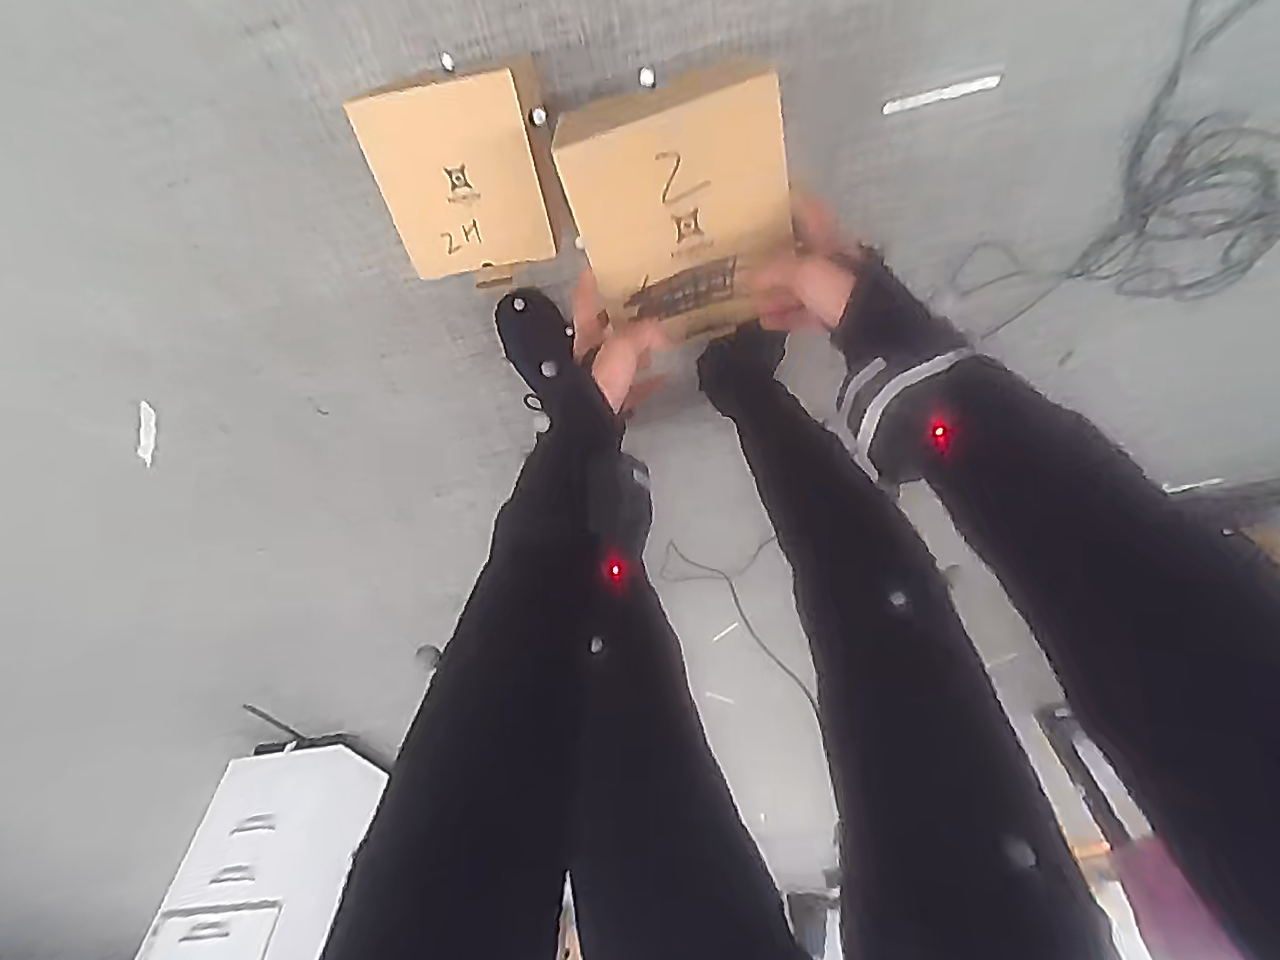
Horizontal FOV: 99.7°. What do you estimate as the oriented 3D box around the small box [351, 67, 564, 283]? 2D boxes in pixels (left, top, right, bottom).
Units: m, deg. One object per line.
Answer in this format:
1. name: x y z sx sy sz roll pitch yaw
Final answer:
1. small box: -0.188 -0.353 0.620 0.168 0.176 0.179 -7 132 4
